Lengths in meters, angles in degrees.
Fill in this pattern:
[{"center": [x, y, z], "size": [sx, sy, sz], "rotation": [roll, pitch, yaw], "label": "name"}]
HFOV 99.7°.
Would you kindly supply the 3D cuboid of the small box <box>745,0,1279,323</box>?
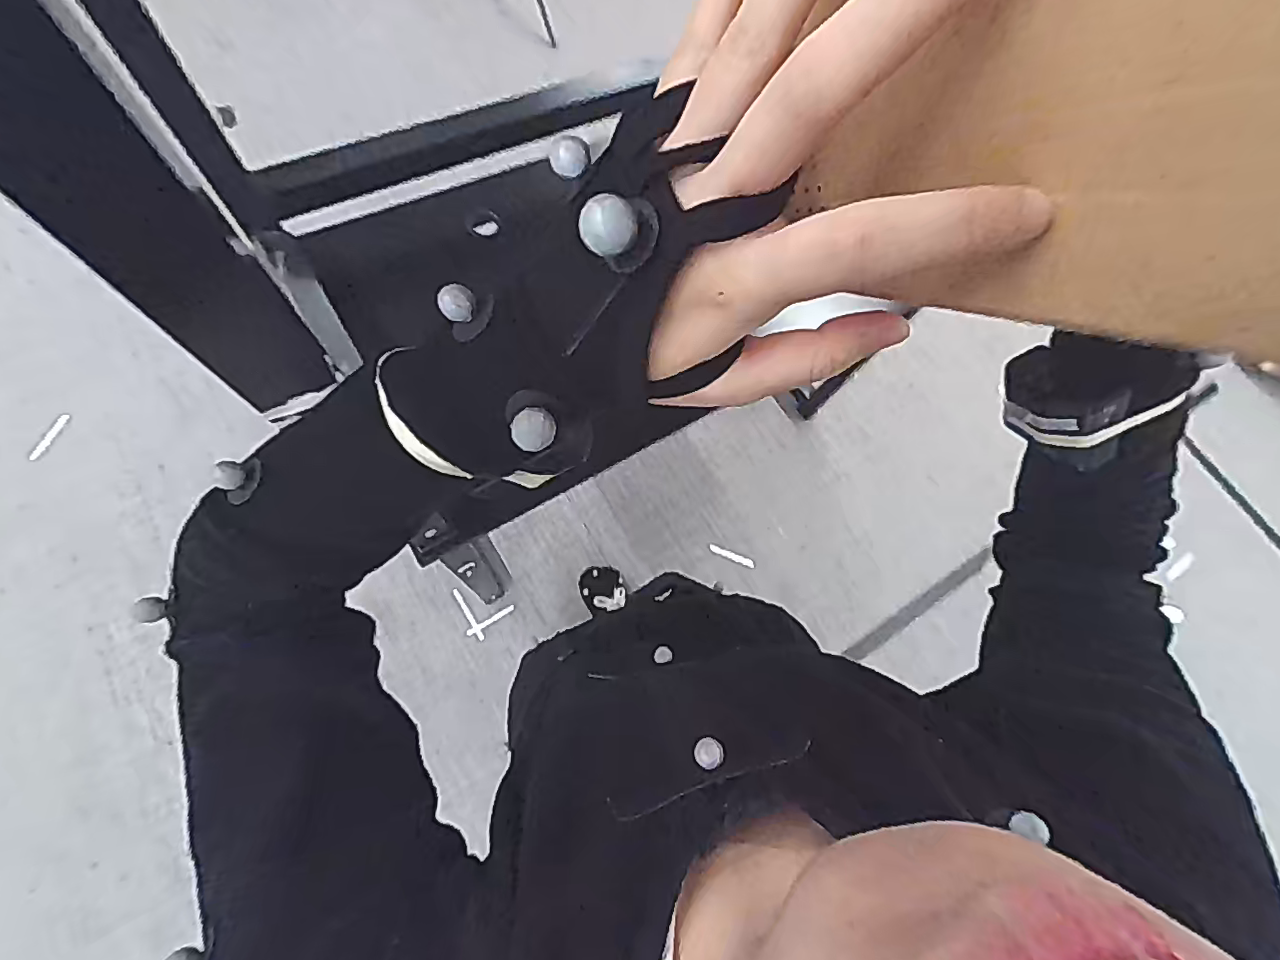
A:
[{"center": [0.132, -0.154, 0.124], "size": [0.179, 0.176, 0.168], "rotation": [-30, 122, -8], "label": "small box"}]
